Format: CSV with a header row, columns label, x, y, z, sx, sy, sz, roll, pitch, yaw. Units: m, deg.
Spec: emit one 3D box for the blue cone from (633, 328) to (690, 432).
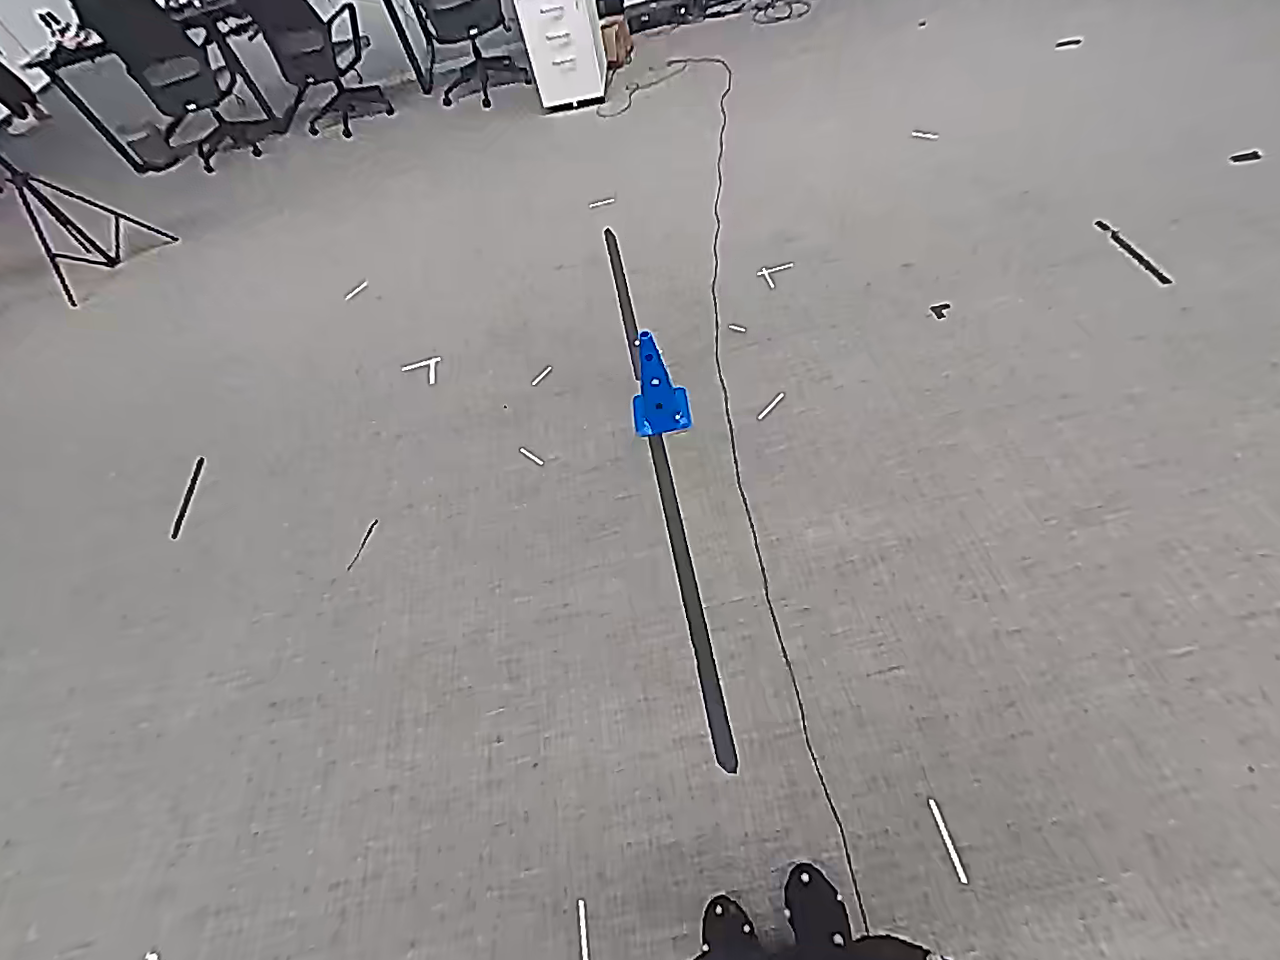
label,x,y,z,sx,sy,sz,roll,pitch,yaw
blue cone,0.045,-0.349,1.786,0.193,0.380,0.192,-11,54,4
